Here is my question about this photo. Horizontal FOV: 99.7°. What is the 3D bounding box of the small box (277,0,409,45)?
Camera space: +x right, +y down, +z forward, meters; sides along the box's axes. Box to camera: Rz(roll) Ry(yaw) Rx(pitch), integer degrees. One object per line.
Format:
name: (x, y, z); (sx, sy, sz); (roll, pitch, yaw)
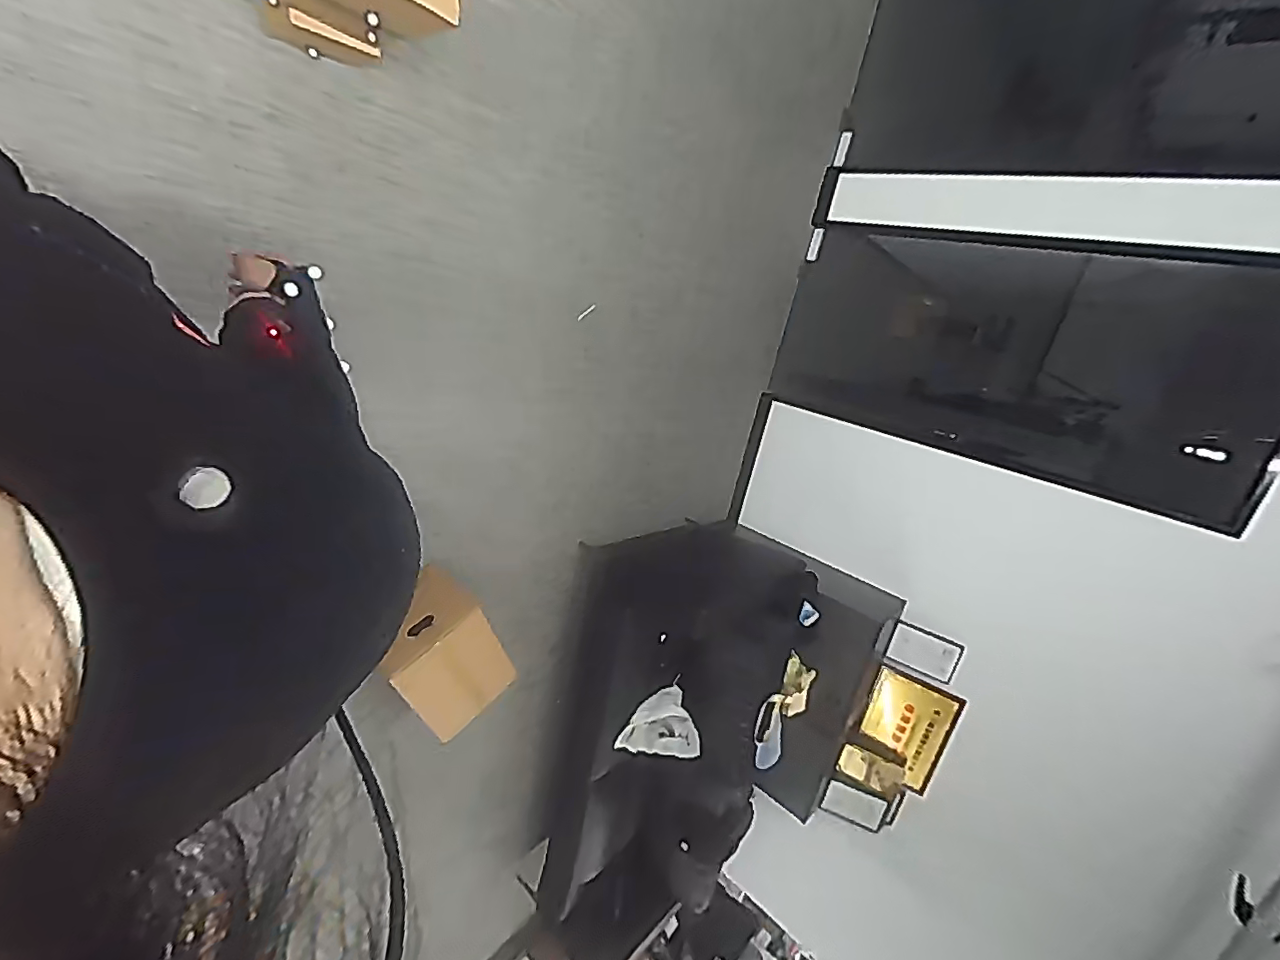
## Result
small box: (-0.526, -0.912, 0.961); (0.179, 0.176, 0.168); (-9, 117, -48)

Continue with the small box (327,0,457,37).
small box: (-0.411, -0.847, 0.864); (0.179, 0.176, 0.168); (-10, 118, -50)
